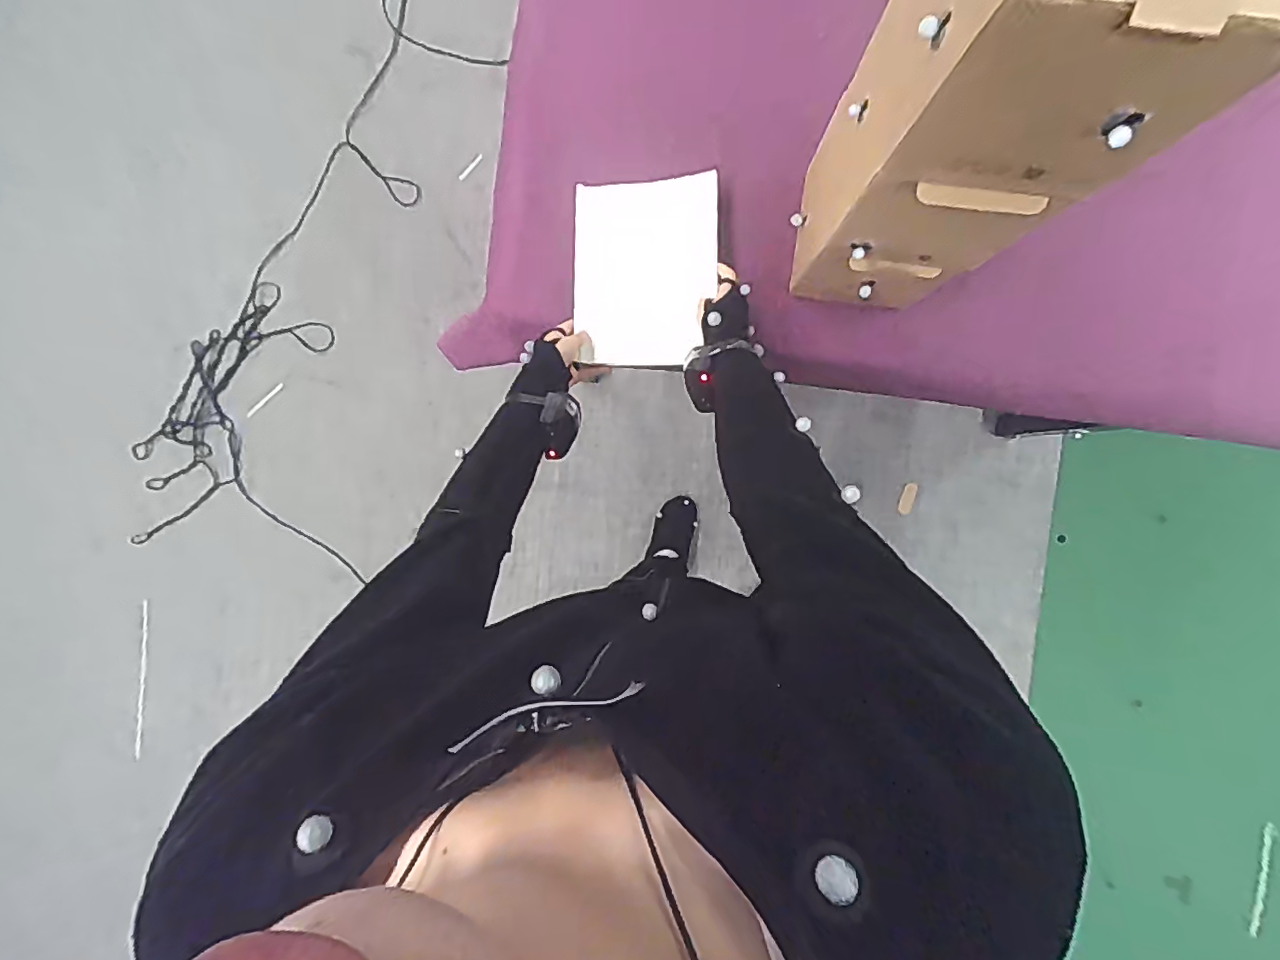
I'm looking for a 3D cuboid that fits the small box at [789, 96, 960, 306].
[{"bbox_3d":[0.294,-0.332,0.678,0.168,0.176,0.179,8,92,2],"label":"small box"}]

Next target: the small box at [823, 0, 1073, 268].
[{"bbox_3d":[0.285,-0.322,0.513,0.168,0.176,0.179,8,90,2],"label":"small box"}]

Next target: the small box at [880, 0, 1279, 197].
[{"bbox_3d":[0.277,-0.315,0.350,0.168,0.176,0.179,9,91,2],"label":"small box"}]
